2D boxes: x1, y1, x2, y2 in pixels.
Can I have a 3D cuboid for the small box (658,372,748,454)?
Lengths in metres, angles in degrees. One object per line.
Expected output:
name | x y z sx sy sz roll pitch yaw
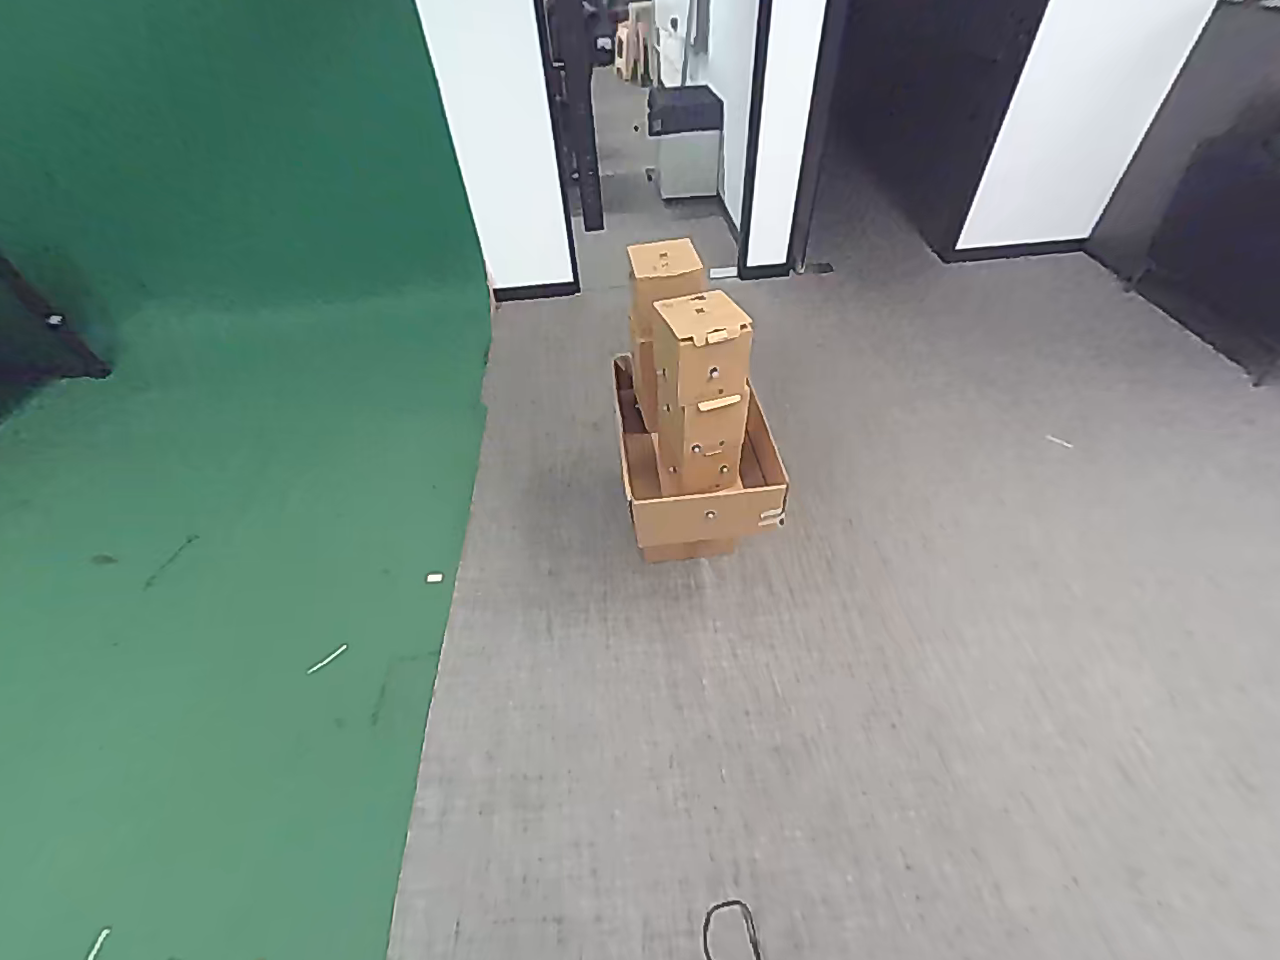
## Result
small box | 0.151 -0.183 1.336 0.168 0.176 0.179 -15 47 -12

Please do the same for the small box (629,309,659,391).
small box | 0.072 -0.373 1.512 0.179 0.176 0.168 -10 48 -4

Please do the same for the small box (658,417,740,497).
small box | 0.156 -0.074 1.458 0.168 0.176 0.179 -15 48 -11

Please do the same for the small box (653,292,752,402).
small box | 0.134 -0.292 1.213 0.168 0.176 0.179 -13 49 -10

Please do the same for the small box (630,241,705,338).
small box | 0.068 -0.492 1.397 0.168 0.176 0.179 -9 48 -2
